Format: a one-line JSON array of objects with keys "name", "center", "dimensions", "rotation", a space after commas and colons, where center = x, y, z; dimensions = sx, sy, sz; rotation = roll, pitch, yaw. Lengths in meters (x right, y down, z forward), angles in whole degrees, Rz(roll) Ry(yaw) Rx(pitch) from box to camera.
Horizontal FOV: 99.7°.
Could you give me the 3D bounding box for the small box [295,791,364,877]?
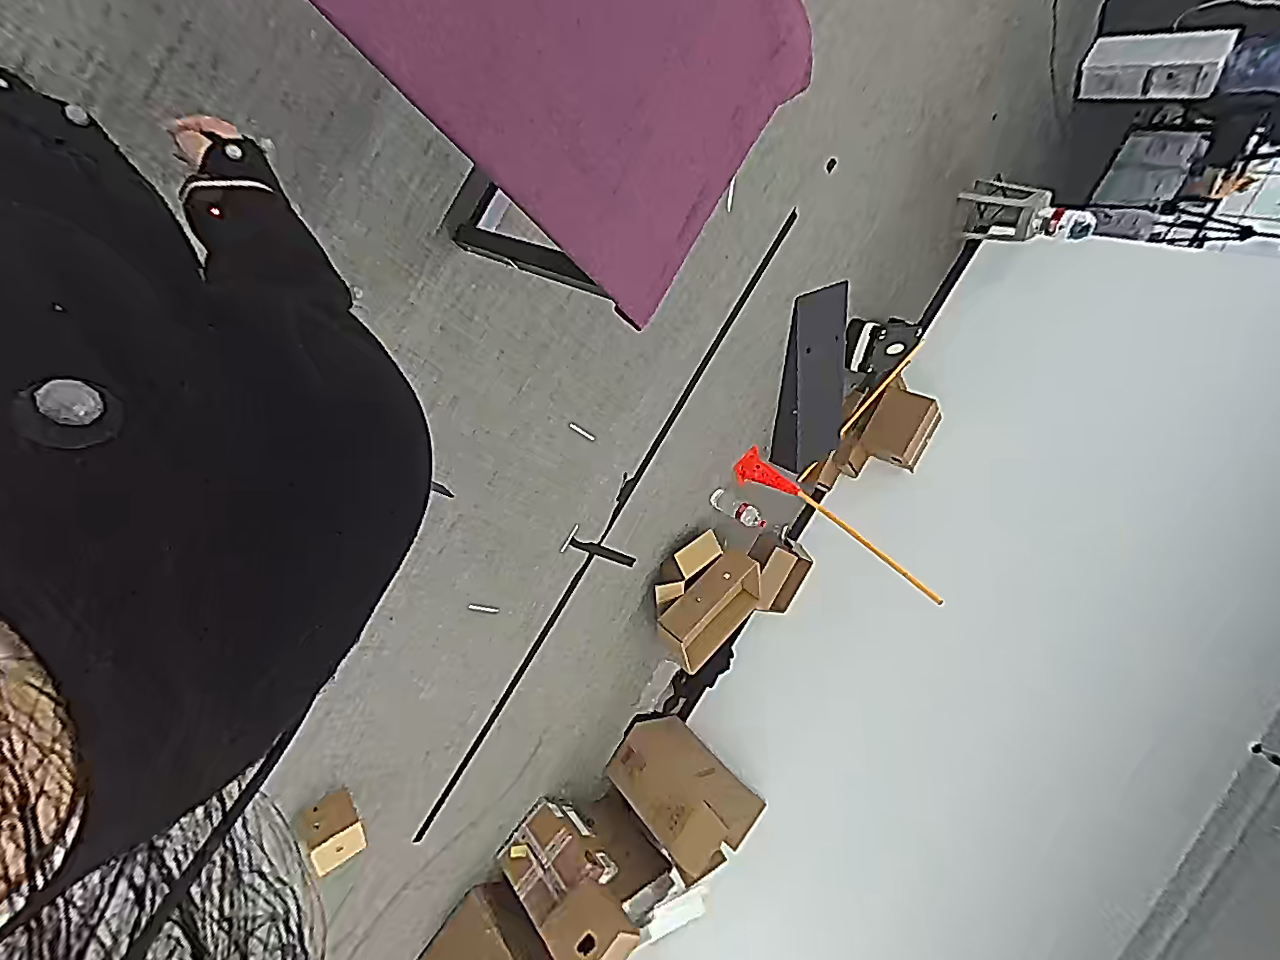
[{"name": "small box", "center": [-1.135, 1.281, 1.973], "dimensions": [0.168, 0.176, 0.179], "rotation": [-20, 130, -38]}]
